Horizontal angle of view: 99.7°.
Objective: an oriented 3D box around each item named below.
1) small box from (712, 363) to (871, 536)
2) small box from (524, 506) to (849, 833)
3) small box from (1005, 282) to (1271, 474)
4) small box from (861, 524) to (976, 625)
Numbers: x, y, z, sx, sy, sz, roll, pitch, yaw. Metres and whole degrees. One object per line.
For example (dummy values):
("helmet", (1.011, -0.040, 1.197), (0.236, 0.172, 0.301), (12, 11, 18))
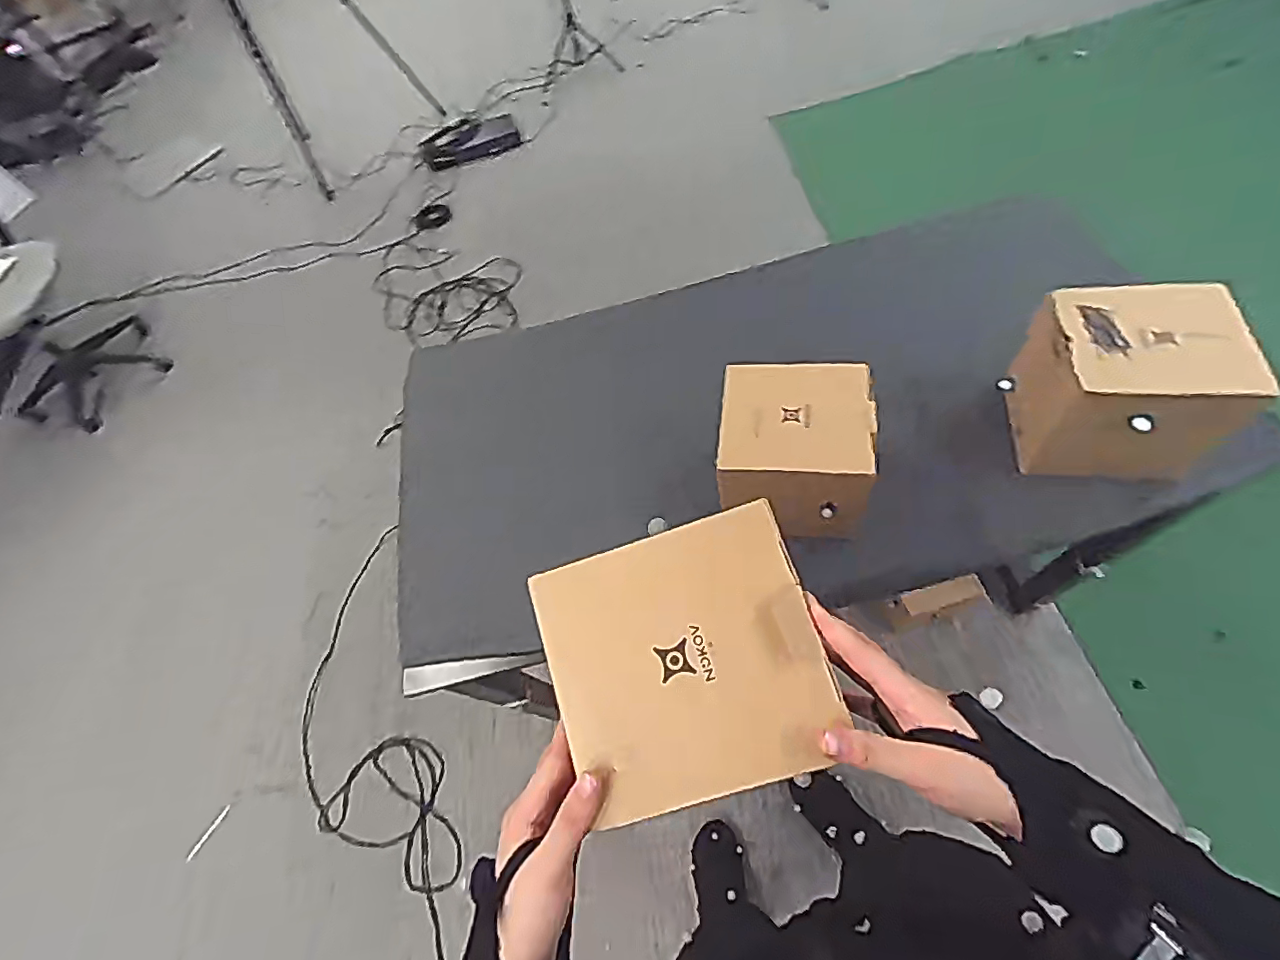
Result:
("small box", (0.195, -0.035, 0.713), (0.179, 0.176, 0.168), (1, 59, 14))
("small box", (0.036, 0.136, 0.422), (0.179, 0.176, 0.168), (-19, 75, 6))
("small box", (0.579, -0.118, 0.668), (0.179, 0.176, 0.168), (2, 60, 15))
("small box", (0.661, 0.236, 1.305), (0.168, 0.176, 0.179), (-20, 60, 1))
